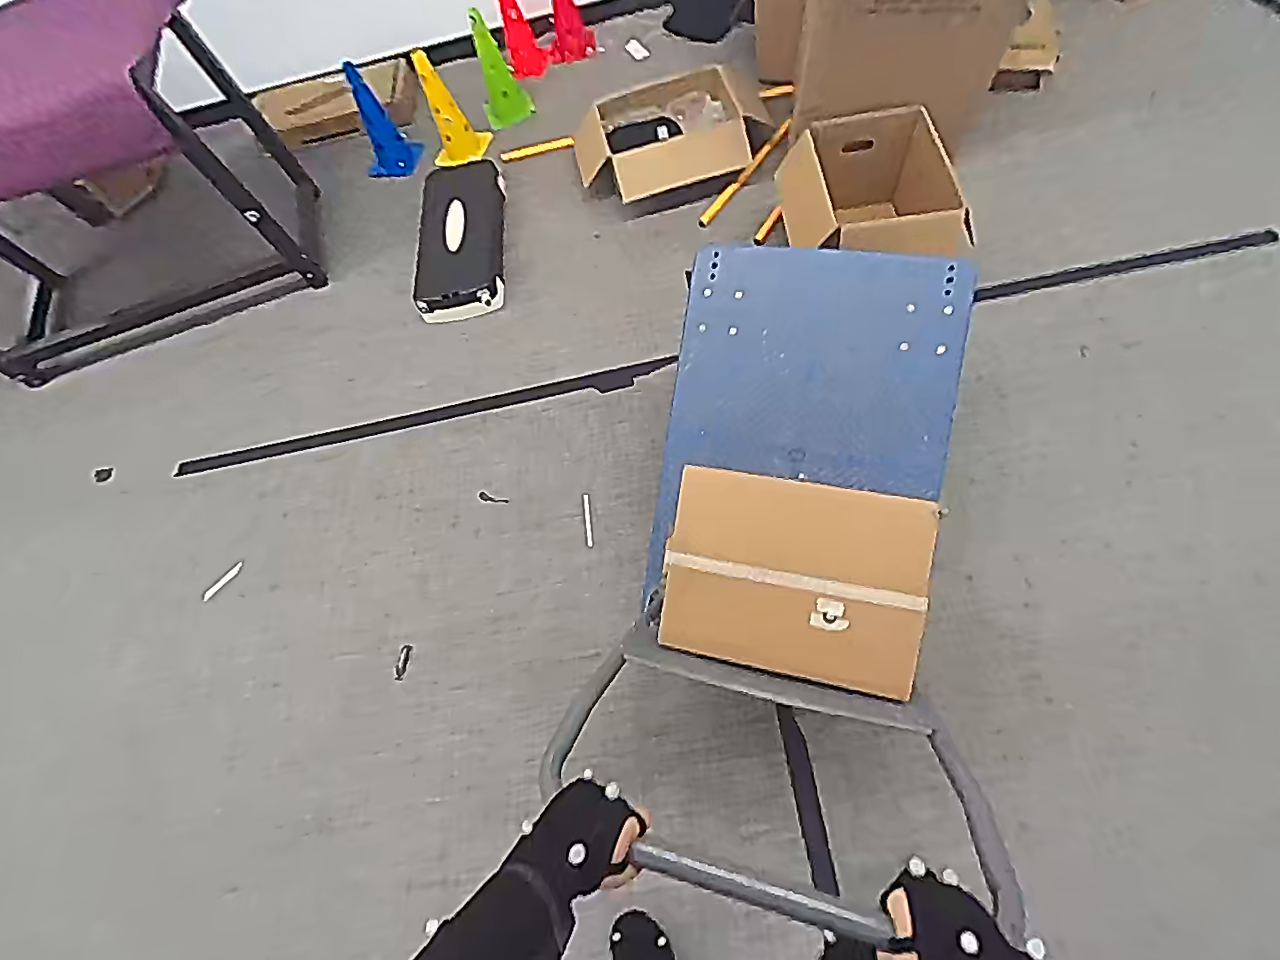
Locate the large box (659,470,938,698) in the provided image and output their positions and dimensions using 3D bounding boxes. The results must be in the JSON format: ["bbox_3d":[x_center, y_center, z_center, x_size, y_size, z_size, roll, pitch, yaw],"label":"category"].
[{"bbox_3d":[0.273,0.160,1.011,0.408,0.320,0.320,9,93,13],"label":"large box"}]
